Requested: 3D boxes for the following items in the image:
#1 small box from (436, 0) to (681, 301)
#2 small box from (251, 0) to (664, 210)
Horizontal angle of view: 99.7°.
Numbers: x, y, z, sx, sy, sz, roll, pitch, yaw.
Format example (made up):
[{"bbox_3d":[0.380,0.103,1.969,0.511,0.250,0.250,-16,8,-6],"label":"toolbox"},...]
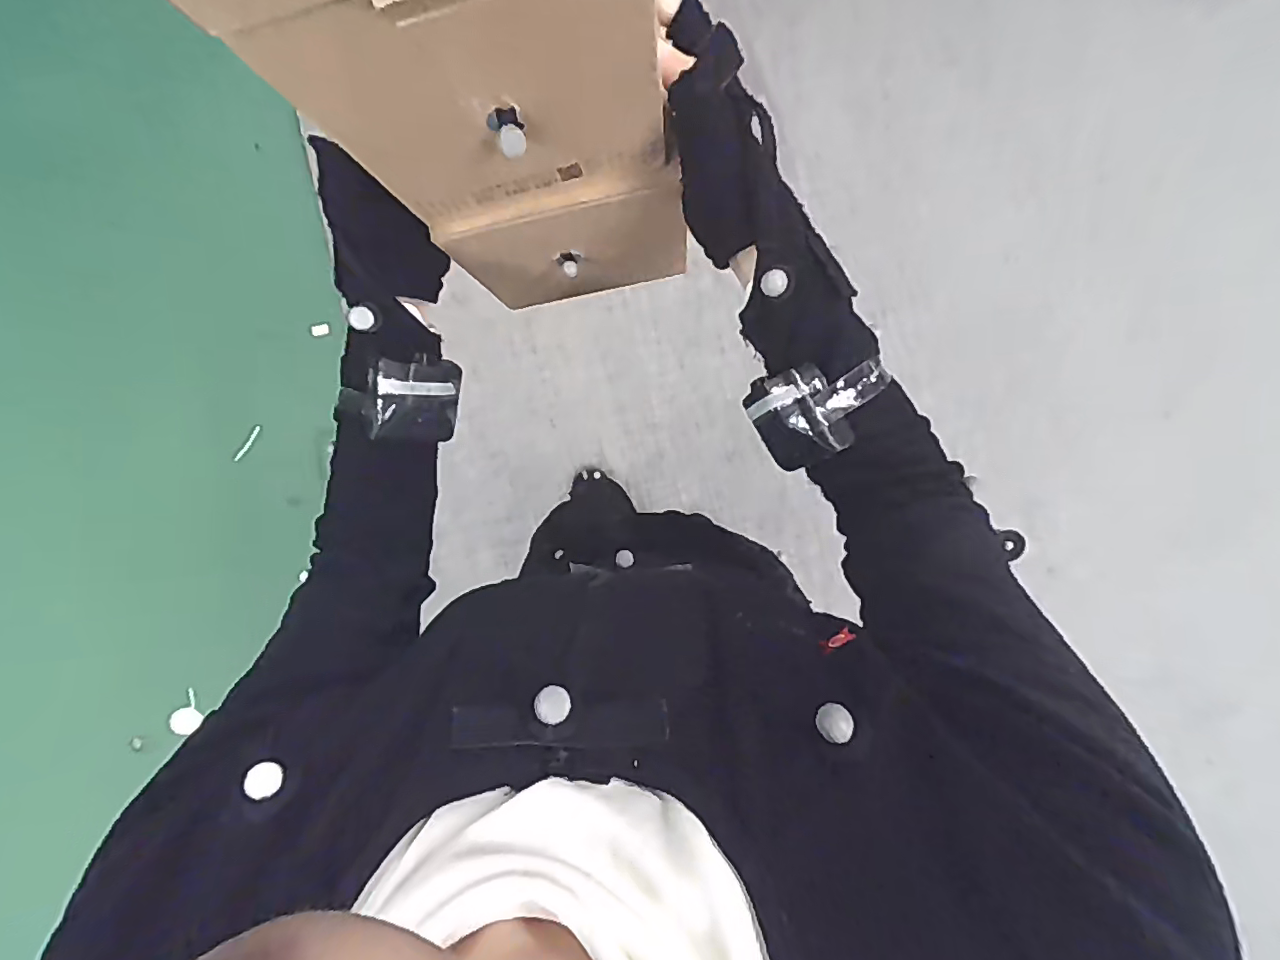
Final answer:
[{"bbox_3d":[-0.062,-0.268,0.456,0.179,0.176,0.168,-9,90,7],"label":"small box"},{"bbox_3d":[-0.088,-0.277,0.298,0.168,0.176,0.179,-14,89,7],"label":"small box"}]
